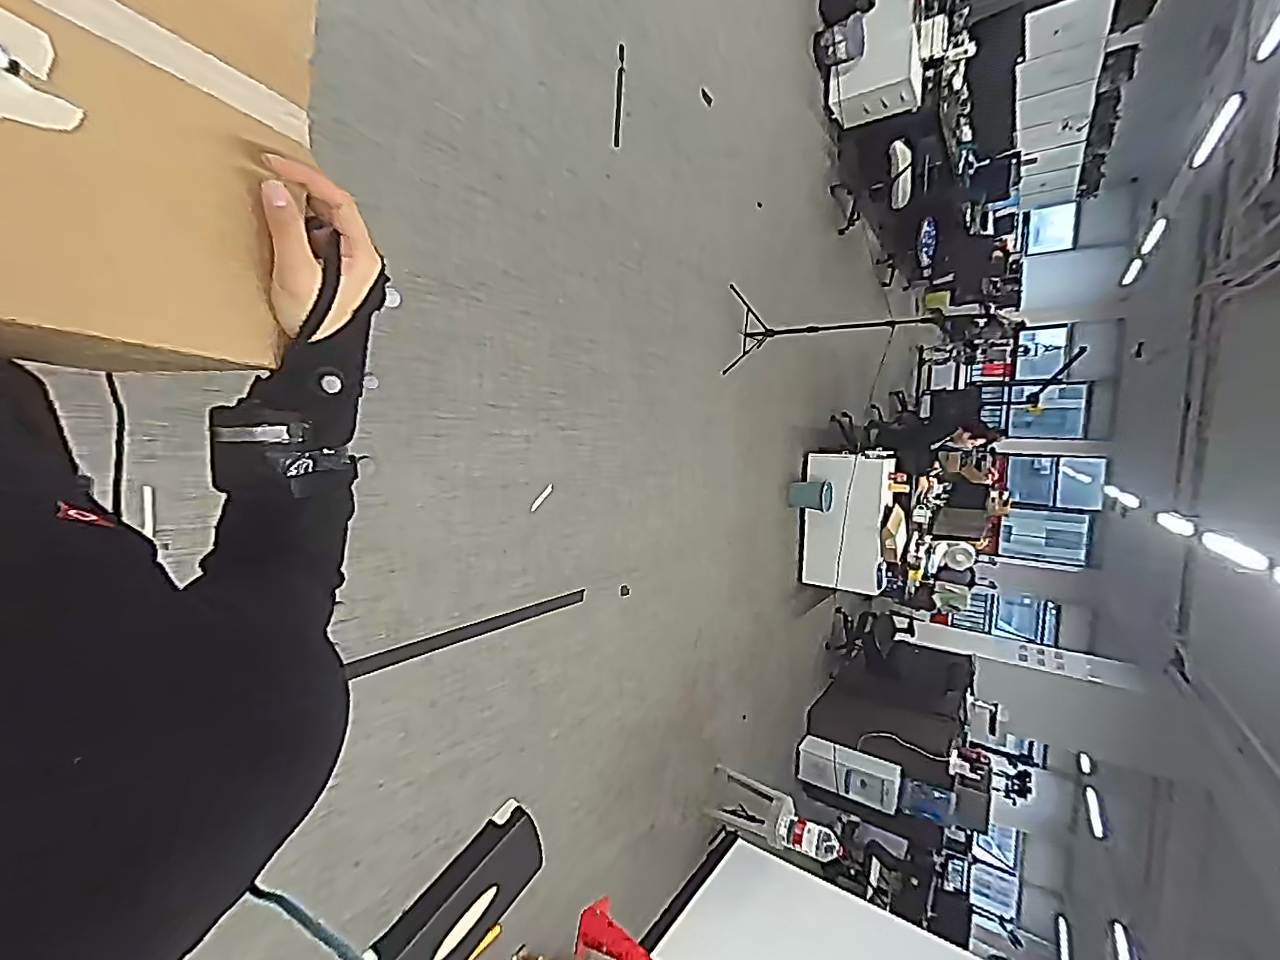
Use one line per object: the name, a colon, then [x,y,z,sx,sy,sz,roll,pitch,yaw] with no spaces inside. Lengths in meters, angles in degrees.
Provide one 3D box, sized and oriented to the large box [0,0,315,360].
large box: [-0.454,-0.251,0.266,0.408,0.320,0.320,2,95,-61]
